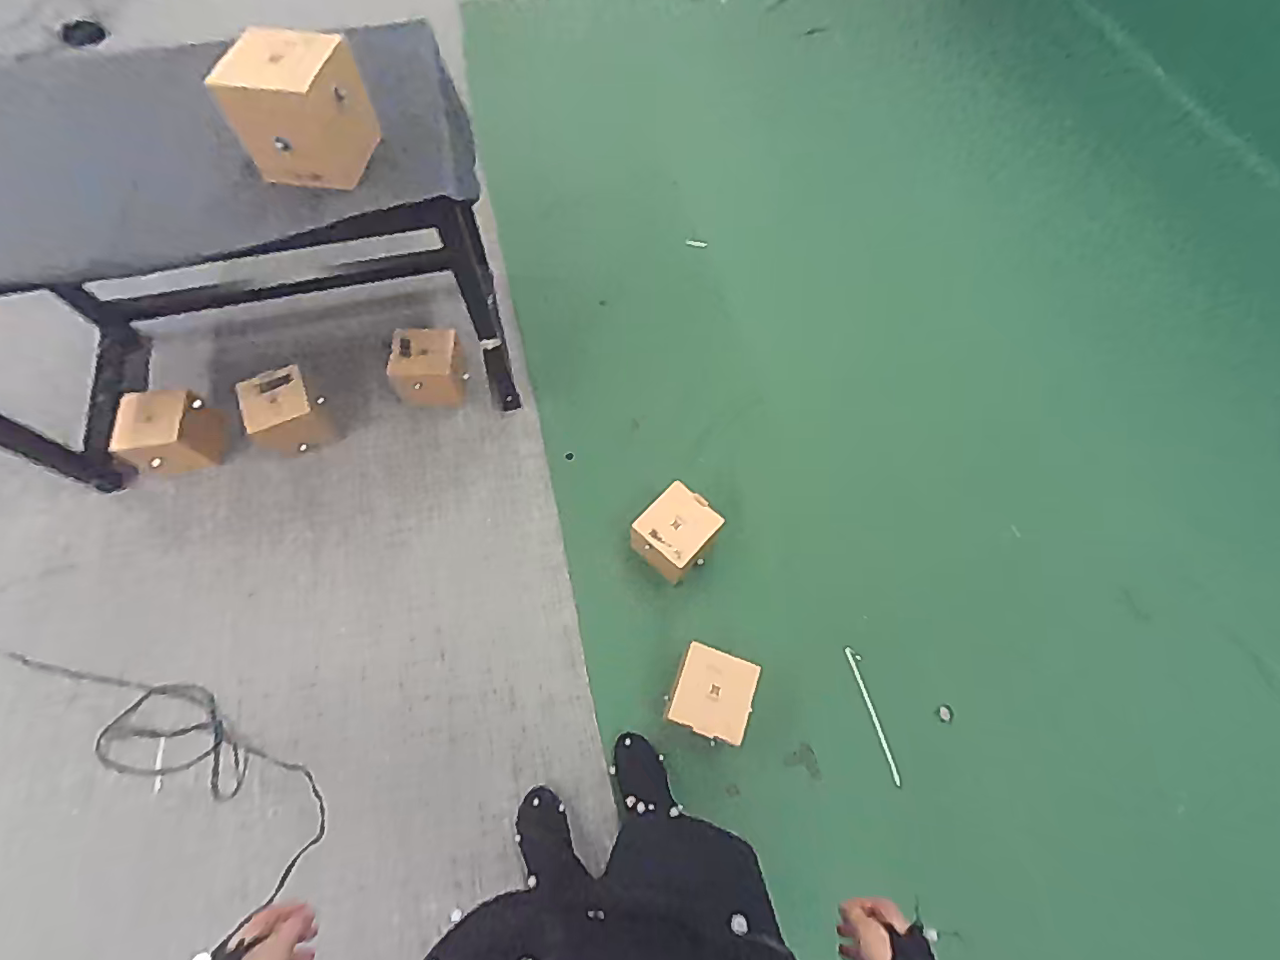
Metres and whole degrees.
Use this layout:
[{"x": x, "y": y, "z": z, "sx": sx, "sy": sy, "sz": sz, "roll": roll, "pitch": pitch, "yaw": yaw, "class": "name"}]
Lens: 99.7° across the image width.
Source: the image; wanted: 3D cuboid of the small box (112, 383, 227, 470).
[{"x": -1.288, "y": -0.140, "z": 1.496, "sx": 0.168, "sy": 0.176, "sz": 0.179, "roll": -9, "pitch": 66, "yaw": -5, "class": "small box"}]

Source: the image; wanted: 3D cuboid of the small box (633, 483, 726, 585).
[{"x": 0.094, "y": 0.144, "z": 1.410, "sx": 0.168, "sy": 0.176, "sz": 0.179, "roll": 41, "pitch": 70, "yaw": 16, "class": "small box"}]

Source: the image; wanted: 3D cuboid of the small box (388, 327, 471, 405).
[{"x": -0.617, "y": -0.334, "z": 1.603, "sx": 0.179, "sy": 0.176, "sz": 0.168, "roll": 0, "pitch": 66, "yaw": -3, "class": "small box"}]

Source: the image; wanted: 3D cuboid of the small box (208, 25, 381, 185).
[{"x": -0.582, "y": -0.646, "z": 0.942, "sx": 0.168, "sy": 0.176, "sz": 0.179, "roll": 7, "pitch": 63, "yaw": 1, "class": "small box"}]

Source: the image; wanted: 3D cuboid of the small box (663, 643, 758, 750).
[{"x": 0.156, "y": 0.501, "z": 1.249, "sx": 0.168, "sy": 0.176, "sz": 0.179, "roll": 20, "pitch": 66, "yaw": 6, "class": "small box"}]
